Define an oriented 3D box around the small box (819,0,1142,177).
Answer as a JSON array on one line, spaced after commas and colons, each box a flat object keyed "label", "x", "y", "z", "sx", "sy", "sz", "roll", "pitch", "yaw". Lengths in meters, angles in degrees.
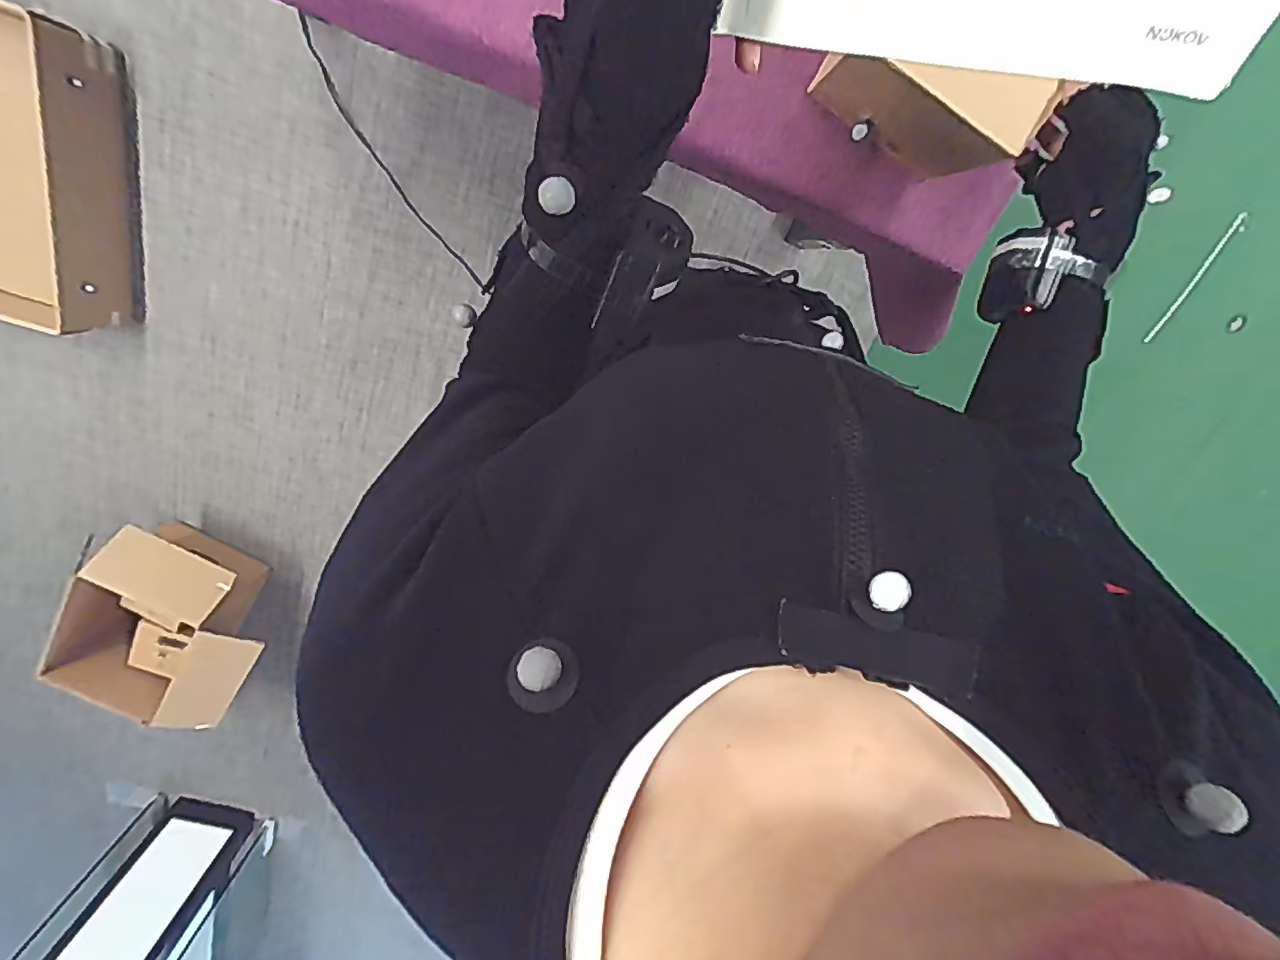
[{"label": "small box", "x": 0.285, "y": -0.399, "z": 0.472, "sx": 0.168, "sy": 0.176, "sz": 0.179, "roll": 29, "pitch": 111, "yaw": -10}]
